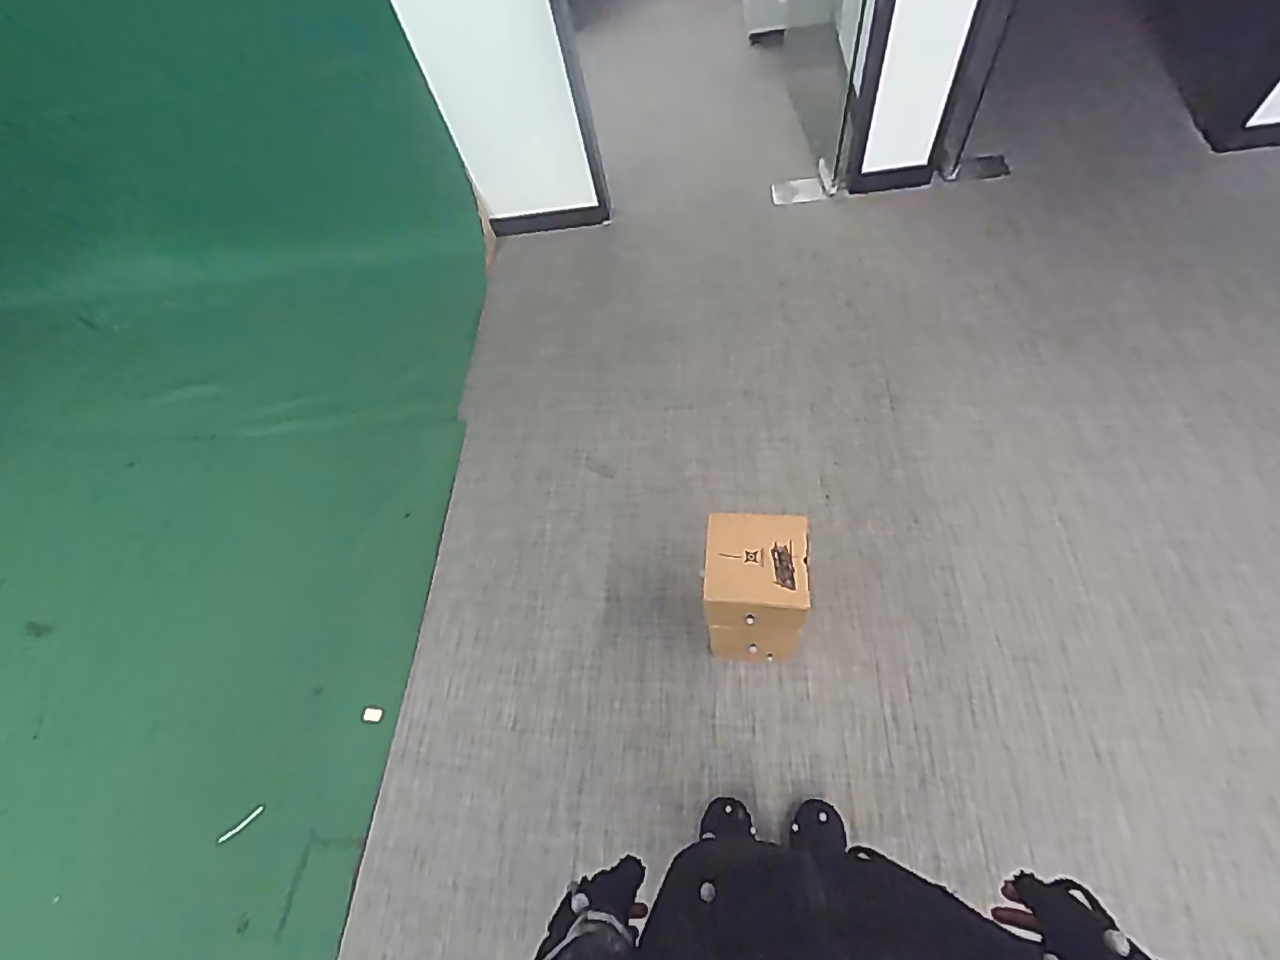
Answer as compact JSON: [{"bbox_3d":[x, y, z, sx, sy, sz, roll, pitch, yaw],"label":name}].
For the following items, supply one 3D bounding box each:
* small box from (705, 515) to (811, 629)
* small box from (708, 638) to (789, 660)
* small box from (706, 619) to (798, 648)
[{"bbox_3d":[0.211,0.175,1.006,0.179,0.176,0.168,0,61,8],"label":"small box"},{"bbox_3d":[0.256,0.330,1.292,0.179,0.176,0.168,-2,61,11],"label":"small box"},{"bbox_3d":[0.234,0.255,1.149,0.179,0.176,0.168,1,61,10],"label":"small box"}]
